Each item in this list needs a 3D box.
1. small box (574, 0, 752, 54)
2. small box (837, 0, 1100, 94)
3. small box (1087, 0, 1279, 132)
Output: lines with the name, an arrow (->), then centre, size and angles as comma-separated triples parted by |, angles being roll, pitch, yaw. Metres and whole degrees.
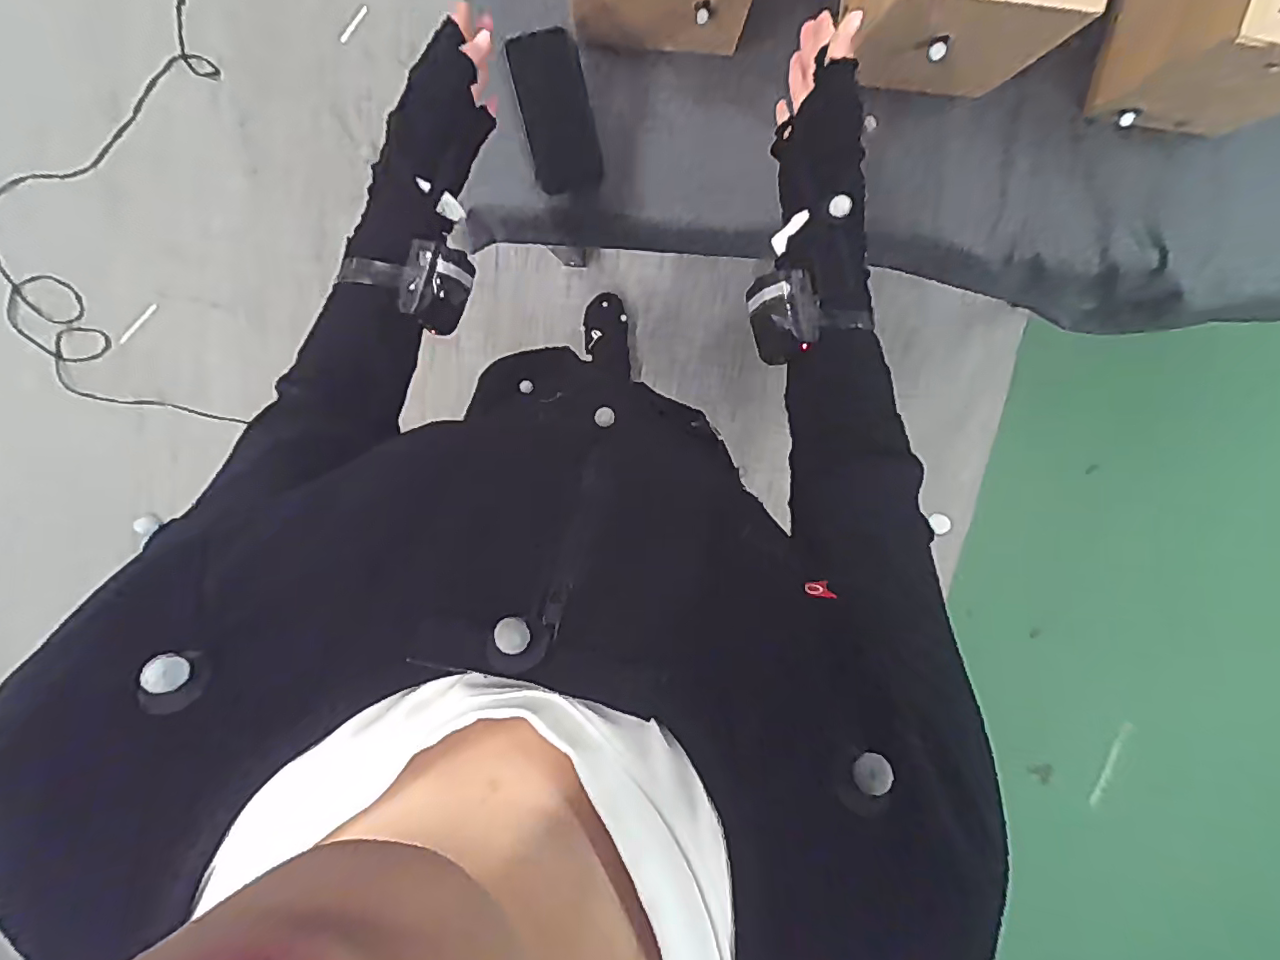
small box -> 0.026, -0.532, 0.500 | 0.179, 0.176, 0.168 | 3, 104, -1
small box -> 0.308, -0.498, 0.513 | 0.179, 0.176, 0.168 | 4, 105, -1
small box -> 0.593, -0.469, 0.525 | 0.168, 0.176, 0.179 | 6, 104, -3
